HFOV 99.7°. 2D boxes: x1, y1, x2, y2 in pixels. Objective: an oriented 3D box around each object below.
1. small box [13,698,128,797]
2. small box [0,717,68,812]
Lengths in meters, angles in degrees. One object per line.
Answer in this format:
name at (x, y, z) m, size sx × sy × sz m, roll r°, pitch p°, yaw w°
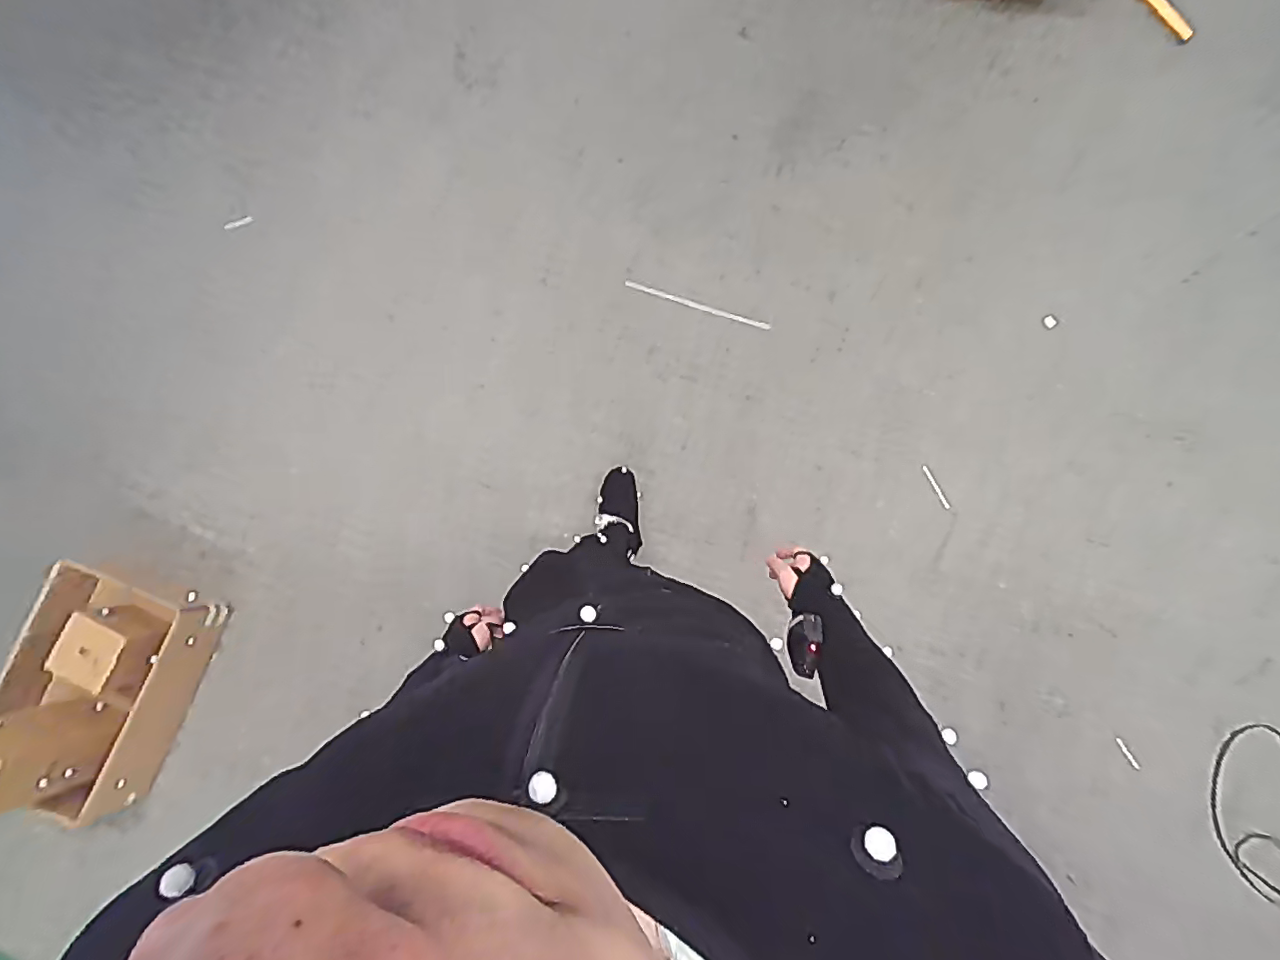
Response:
small box at (-1.591, 0.723, 1.486) m, size 0.179 × 0.176 × 0.168 m, roll 23°, pitch 85°, yaw 5°
small box at (-1.594, 0.705, 1.324) m, size 0.179 × 0.176 × 0.168 m, roll 23°, pitch 85°, yaw 4°
